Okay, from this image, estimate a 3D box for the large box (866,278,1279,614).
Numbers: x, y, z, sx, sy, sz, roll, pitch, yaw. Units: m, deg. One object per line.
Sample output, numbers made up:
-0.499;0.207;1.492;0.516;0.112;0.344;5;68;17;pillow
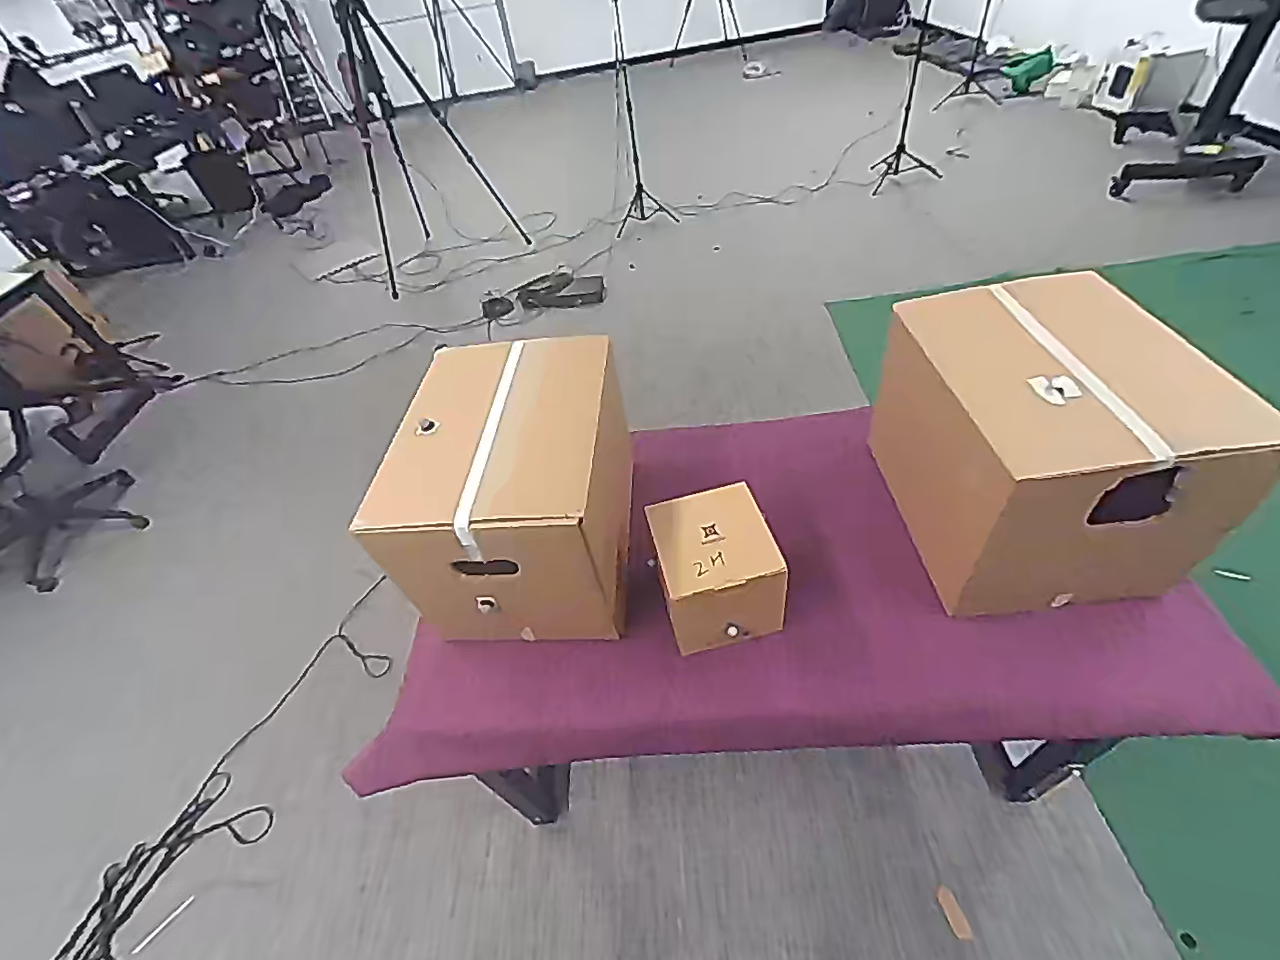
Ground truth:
0.588;-0.056;0.838;0.320;0.320;0.408;-8;47;6;large box
